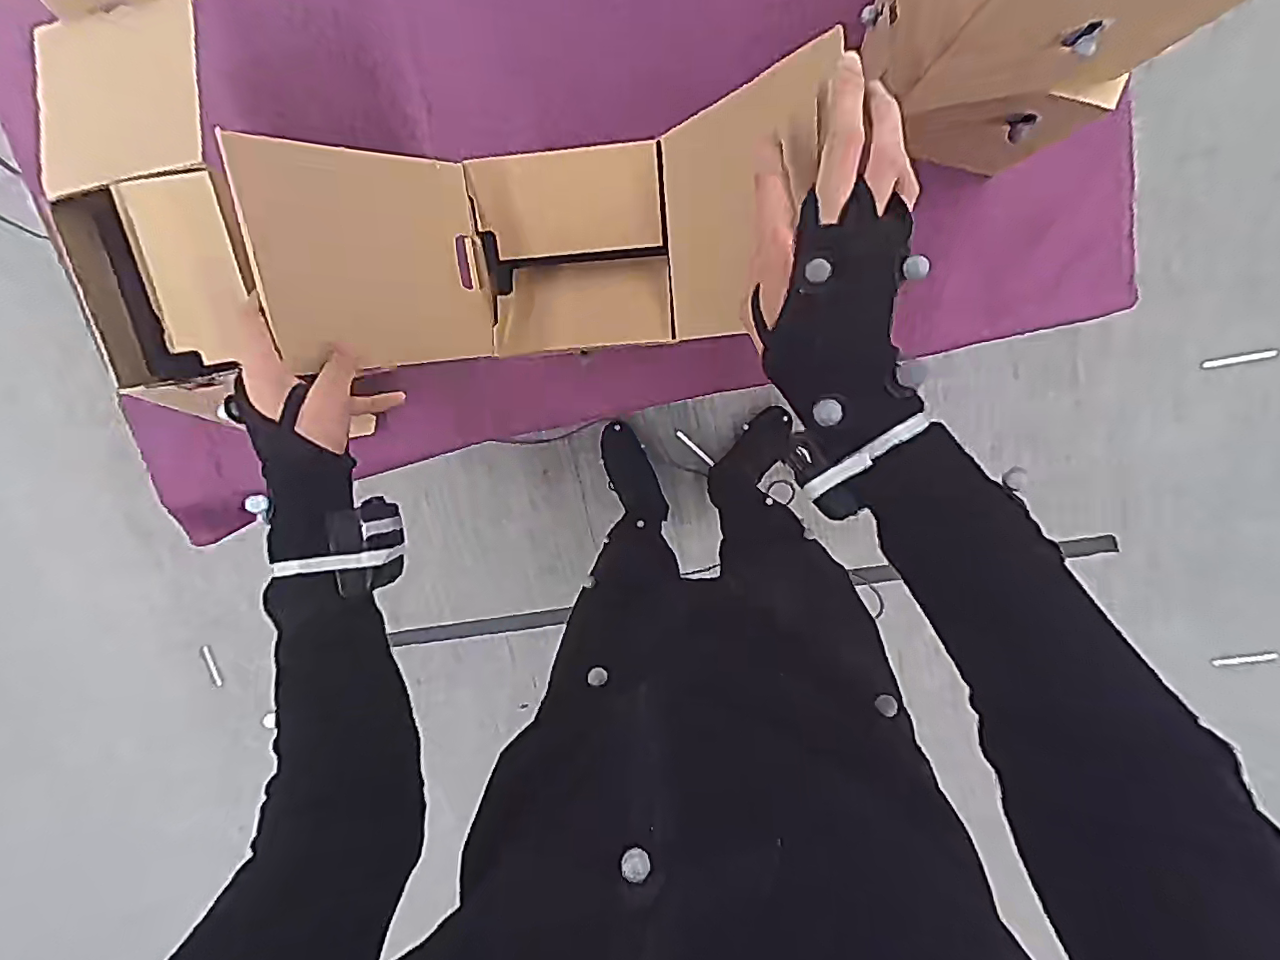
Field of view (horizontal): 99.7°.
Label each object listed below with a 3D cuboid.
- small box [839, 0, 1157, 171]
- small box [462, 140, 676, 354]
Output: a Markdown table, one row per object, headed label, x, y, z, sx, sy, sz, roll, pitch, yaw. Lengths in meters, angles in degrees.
| label | x | y | z | sx | sy | sz | roll | pitch | yaw |
| --- | --- | --- | --- | --- | --- | --- | --- | --- | --- |
| small box | 0.302 | -0.395 | 0.472 | 0.179 | 0.176 | 0.168 | 15 | 104 | 1 |
| small box | -0.055 | -0.216 | 0.547 | 0.179 | 0.176 | 0.168 | -3 | 104 | 5 |
